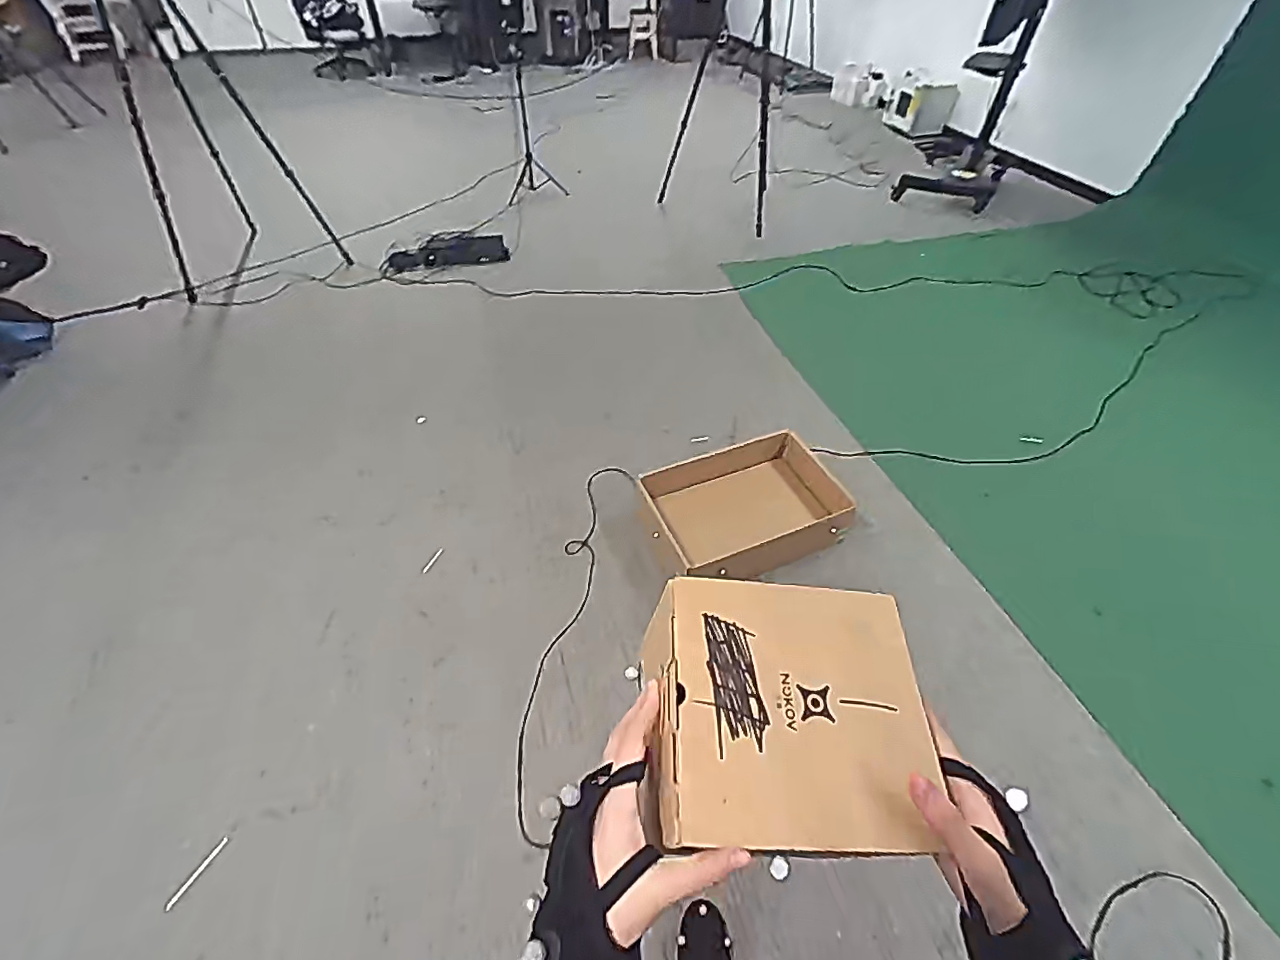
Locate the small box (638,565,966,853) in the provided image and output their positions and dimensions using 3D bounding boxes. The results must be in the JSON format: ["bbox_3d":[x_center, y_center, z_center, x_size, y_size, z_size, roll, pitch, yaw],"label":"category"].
[{"bbox_3d":[0.096,0.184,0.417,0.179,0.176,0.168,8,54,-8],"label":"small box"}]
